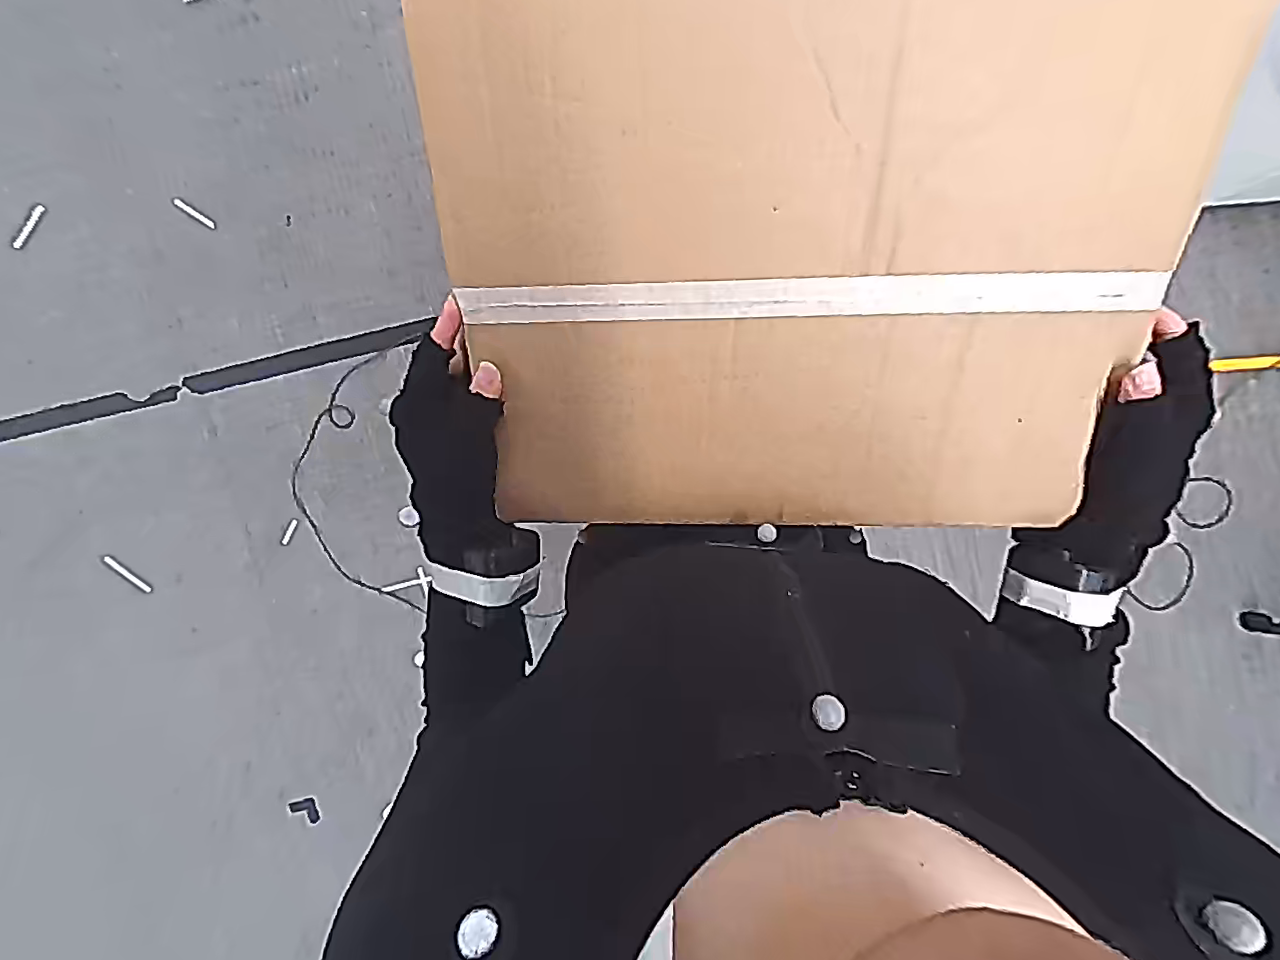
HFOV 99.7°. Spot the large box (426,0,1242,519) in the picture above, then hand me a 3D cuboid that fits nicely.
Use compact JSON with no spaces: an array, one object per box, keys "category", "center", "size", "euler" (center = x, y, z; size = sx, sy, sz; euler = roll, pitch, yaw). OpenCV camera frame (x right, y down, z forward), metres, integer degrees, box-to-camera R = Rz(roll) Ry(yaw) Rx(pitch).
[{"category":"large box","center":[0.099,-0.176,0.460],"size":[0.408,0.320,0.320],"euler":[0,118,3]}]
